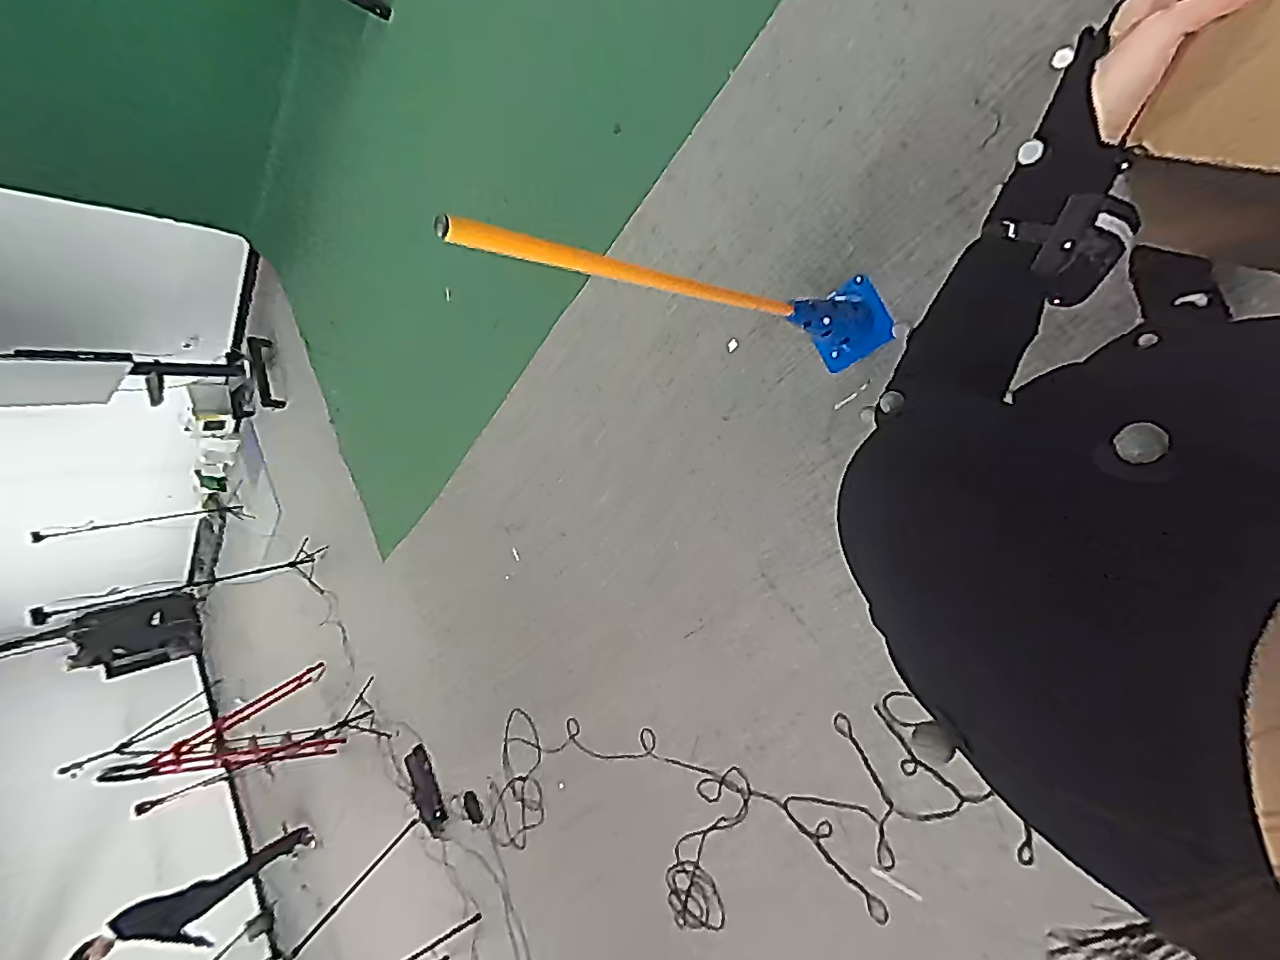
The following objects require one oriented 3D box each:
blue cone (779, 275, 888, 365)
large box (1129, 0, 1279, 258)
[{"bbox_3d":[0.450,-0.412,1.342,0.193,0.380,0.192,-31,75,39],"label":"blue cone"},{"bbox_3d":[0.617,-0.300,0.319,0.408,0.320,0.320,34,119,33],"label":"large box"}]
